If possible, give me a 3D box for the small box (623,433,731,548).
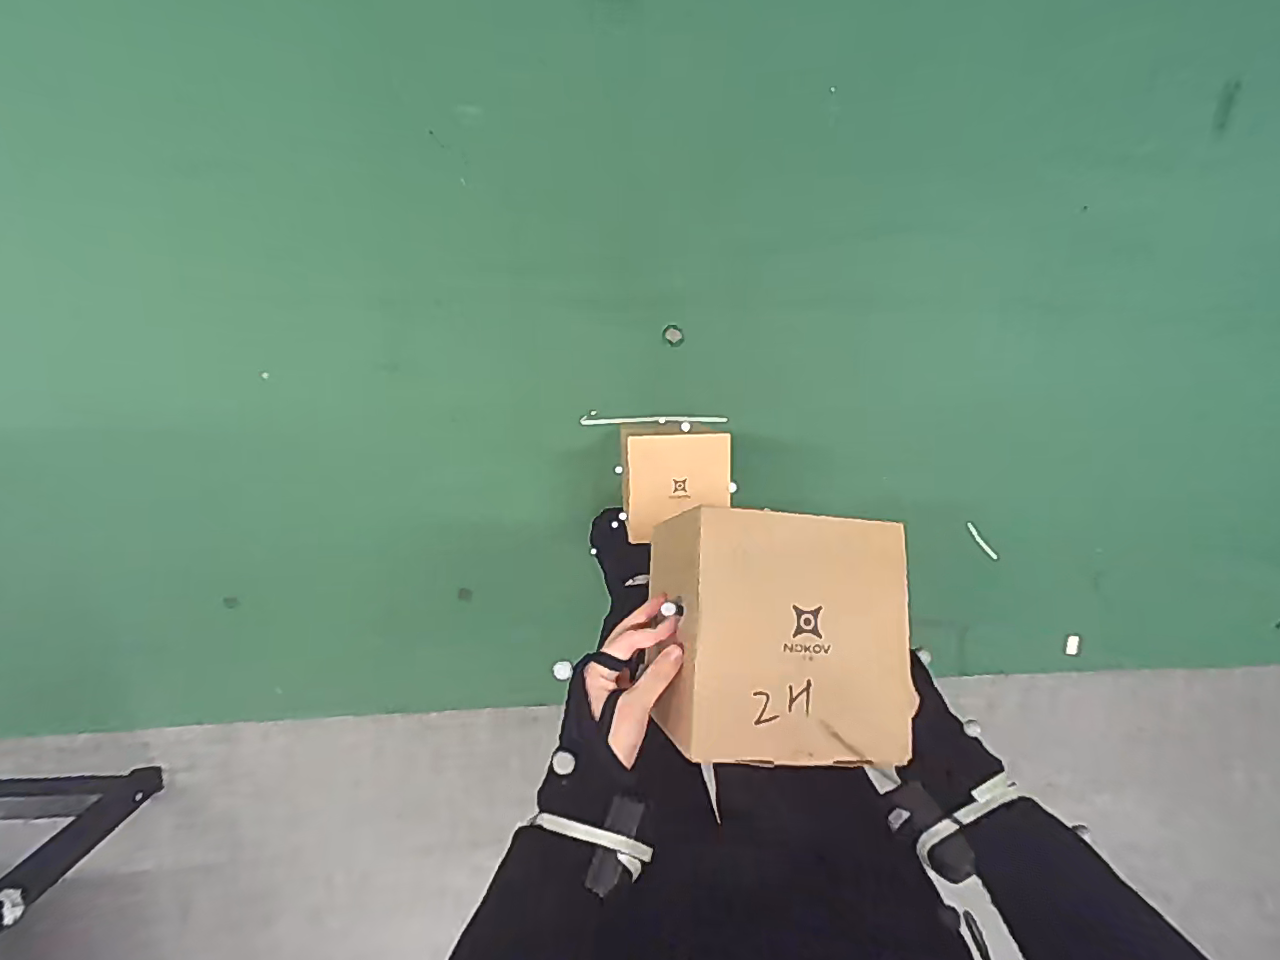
[{"bbox_3d":[0.058,0.010,0.943,0.168,0.176,0.179,-3,99,-3],"label":"small box"}]
